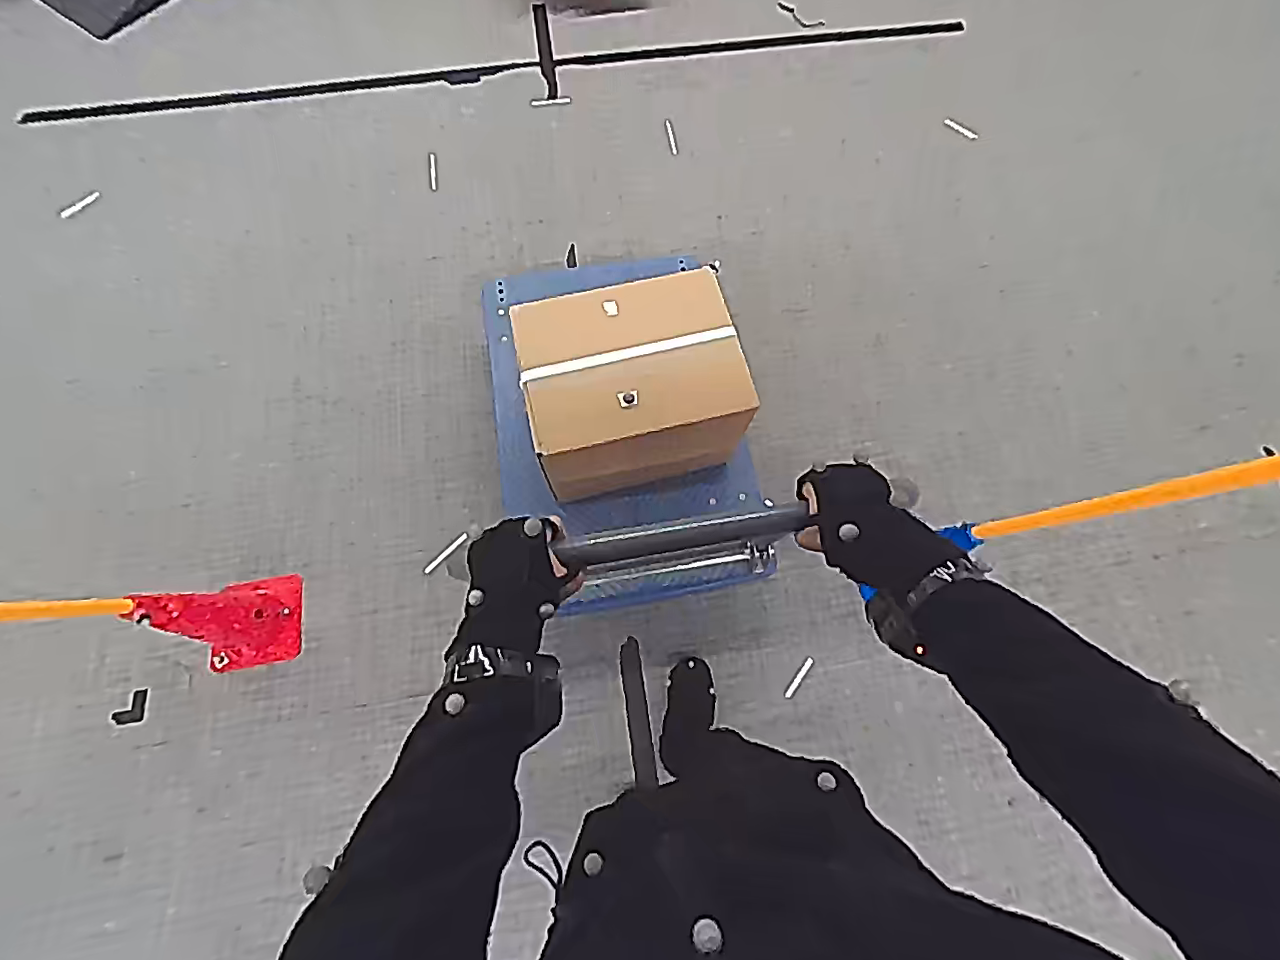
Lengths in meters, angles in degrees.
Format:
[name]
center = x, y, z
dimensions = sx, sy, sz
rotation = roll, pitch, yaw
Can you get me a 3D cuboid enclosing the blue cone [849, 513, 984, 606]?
[blue cone]
center = 0.641, 0.154, 1.203
dimensions = 0.193, 0.380, 0.192
rotation = -12, 70, -6
